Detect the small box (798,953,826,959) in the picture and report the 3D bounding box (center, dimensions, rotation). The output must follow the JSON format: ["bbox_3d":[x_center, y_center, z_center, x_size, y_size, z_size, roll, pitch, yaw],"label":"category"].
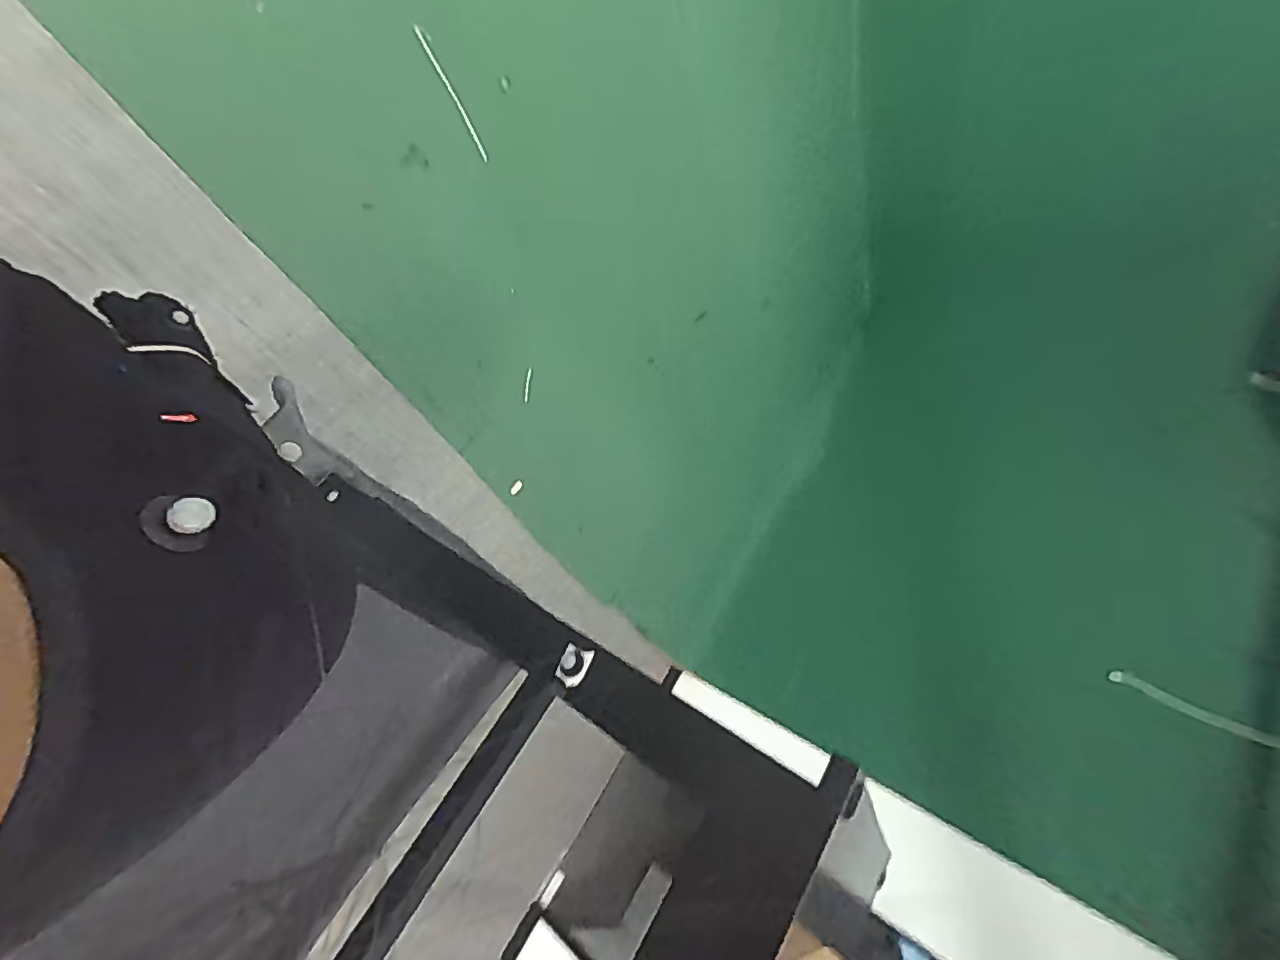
[{"bbox_3d":[0.127,0.412,0.298,0.168,0.176,0.179,-54,141,-20],"label":"small box"}]
